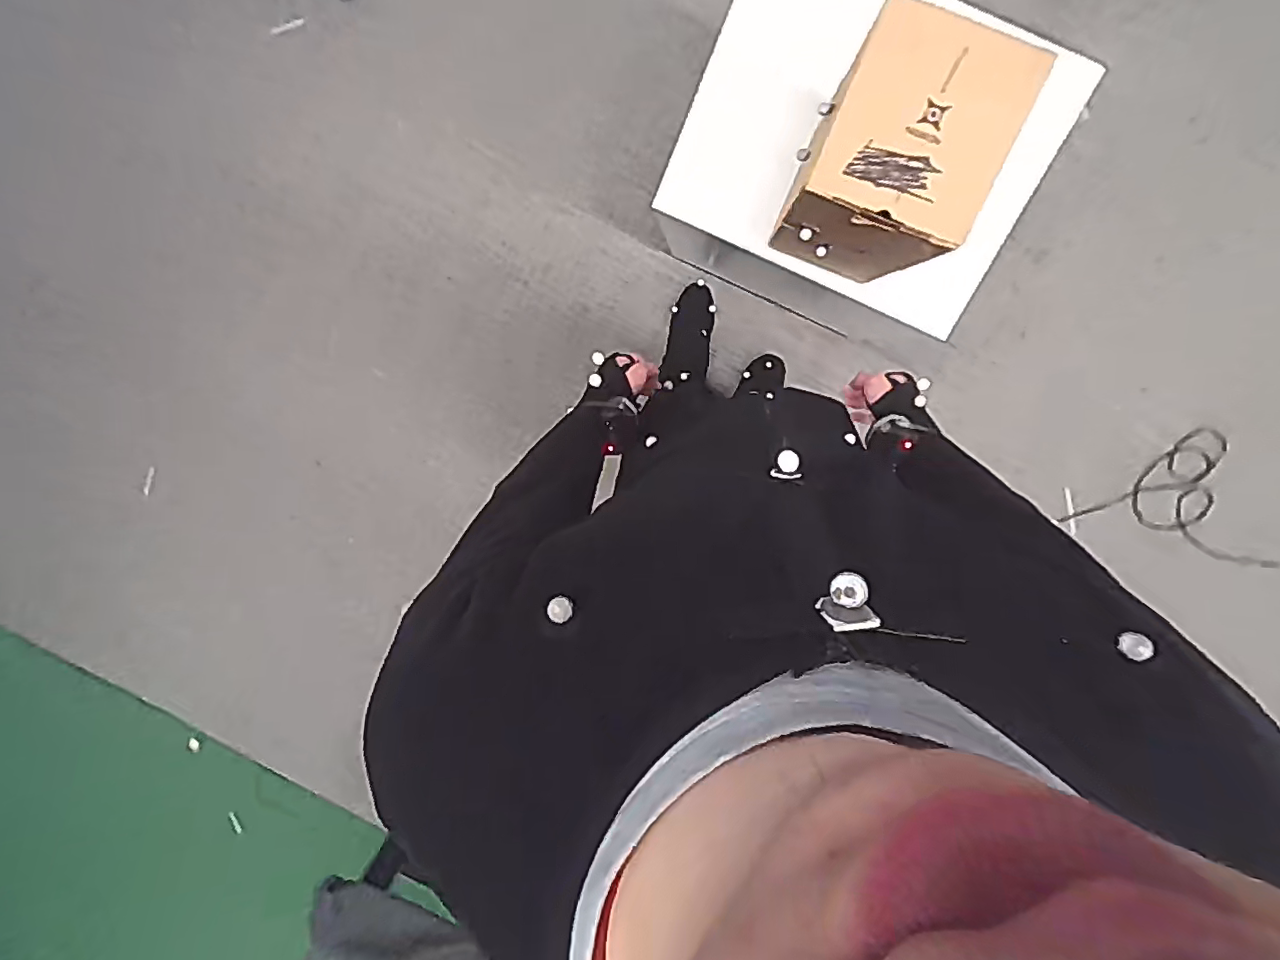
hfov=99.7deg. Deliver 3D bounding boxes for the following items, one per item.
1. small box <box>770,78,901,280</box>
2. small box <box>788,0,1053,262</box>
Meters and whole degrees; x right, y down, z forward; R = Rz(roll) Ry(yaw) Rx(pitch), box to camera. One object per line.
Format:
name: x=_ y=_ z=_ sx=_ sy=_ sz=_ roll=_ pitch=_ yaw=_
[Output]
small box: x=0.290 y=-0.395 z=0.741 sx=0.168 sy=0.176 sz=0.179 roll=22 pitch=104 yaw=1
small box: x=0.273 y=-0.356 z=0.582 sx=0.168 sy=0.176 sz=0.179 roll=22 pitch=104 yaw=0
